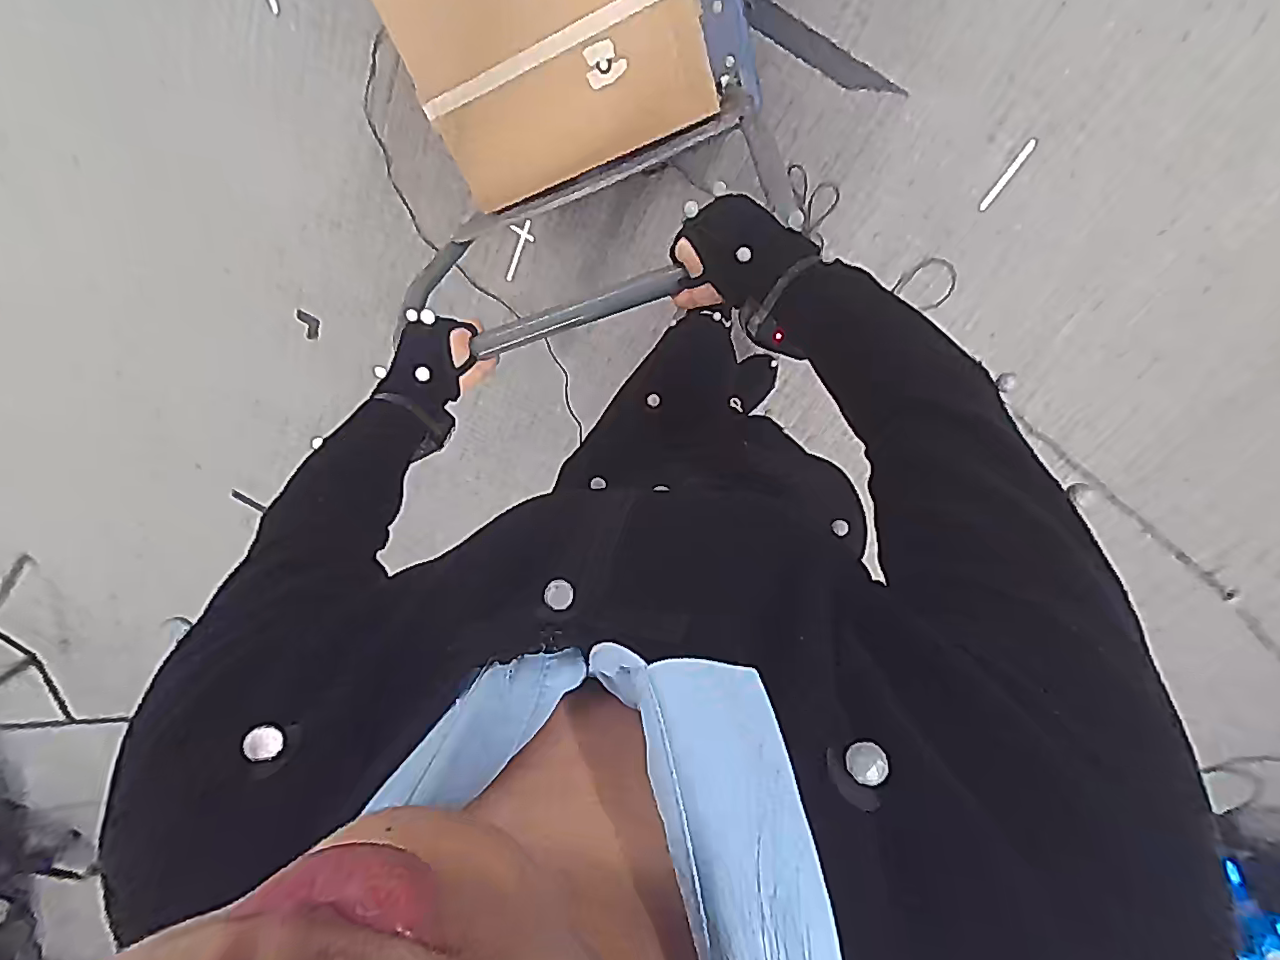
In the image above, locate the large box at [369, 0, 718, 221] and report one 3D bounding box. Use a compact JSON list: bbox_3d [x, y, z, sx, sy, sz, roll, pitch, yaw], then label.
[{"bbox_3d":[-0.116,-0.675,0.859,0.408,0.320,0.320,-15,126,16],"label":"large box"}]
